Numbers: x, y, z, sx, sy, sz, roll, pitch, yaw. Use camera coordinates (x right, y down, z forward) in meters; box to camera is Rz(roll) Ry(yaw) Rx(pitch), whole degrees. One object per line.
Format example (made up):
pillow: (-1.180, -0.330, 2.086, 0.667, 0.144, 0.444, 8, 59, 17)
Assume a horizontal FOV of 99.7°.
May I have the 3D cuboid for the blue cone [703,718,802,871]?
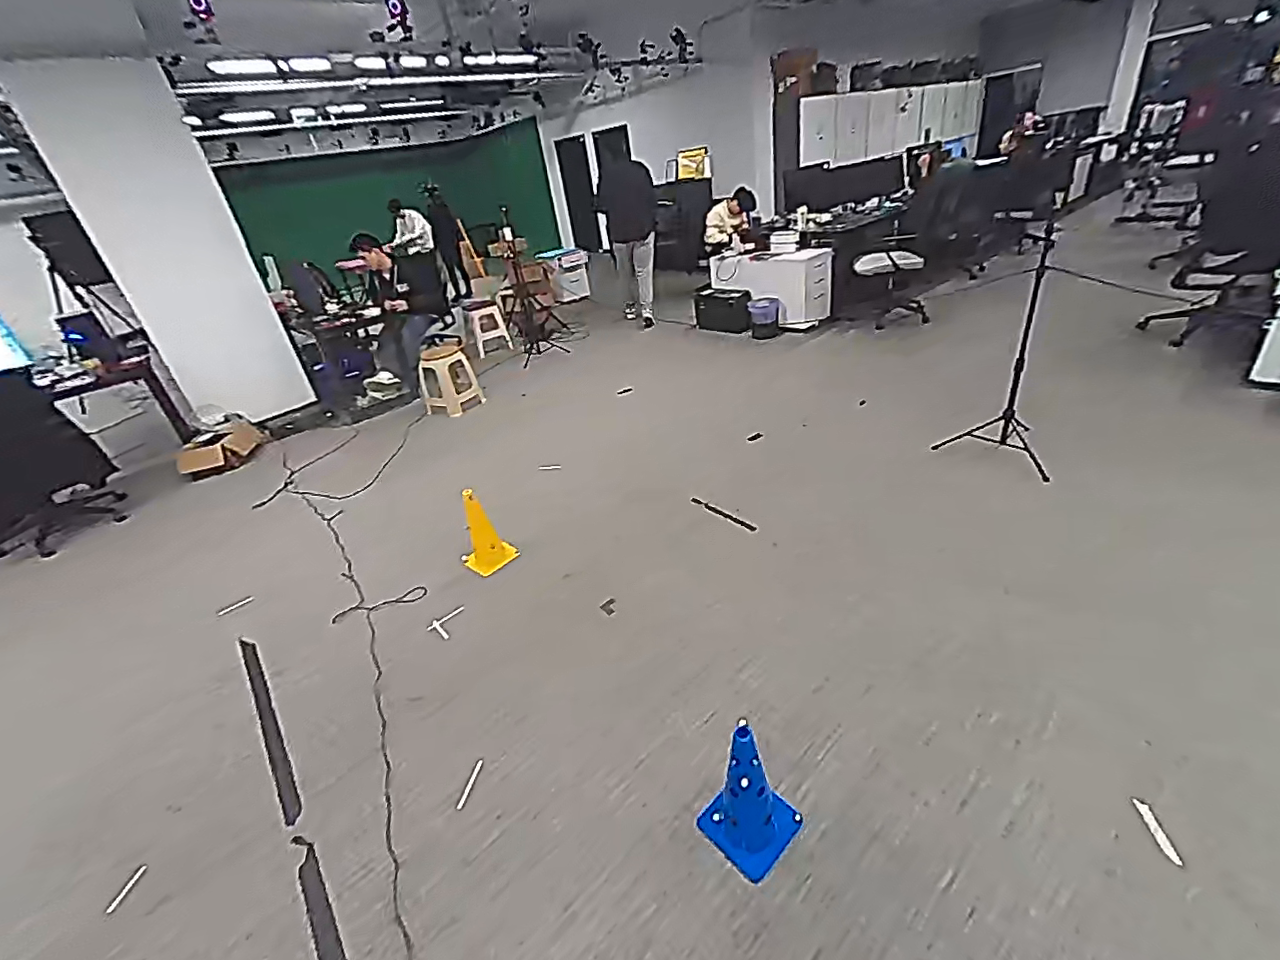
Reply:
blue cone: (0.251, 0.690, 1.246, 0.192, 0.380, 0.193, -29, 35, -31)
